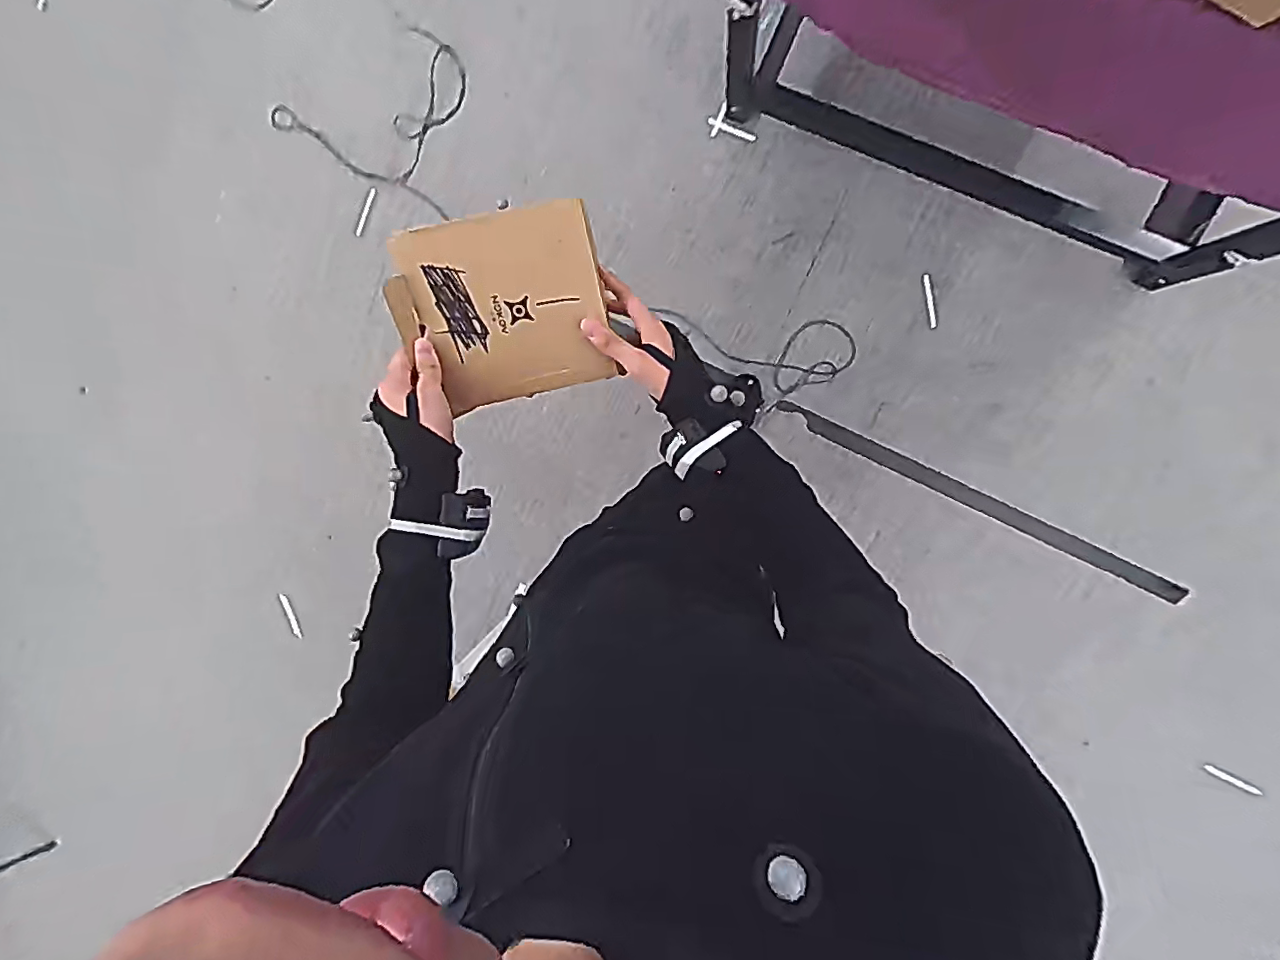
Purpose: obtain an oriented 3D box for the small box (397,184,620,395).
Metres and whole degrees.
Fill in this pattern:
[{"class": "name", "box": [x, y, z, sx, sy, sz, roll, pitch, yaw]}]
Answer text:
[{"class": "small box", "box": [-0.121, -0.204, 0.578, 0.179, 0.176, 0.168, -12, 116, 1]}]
